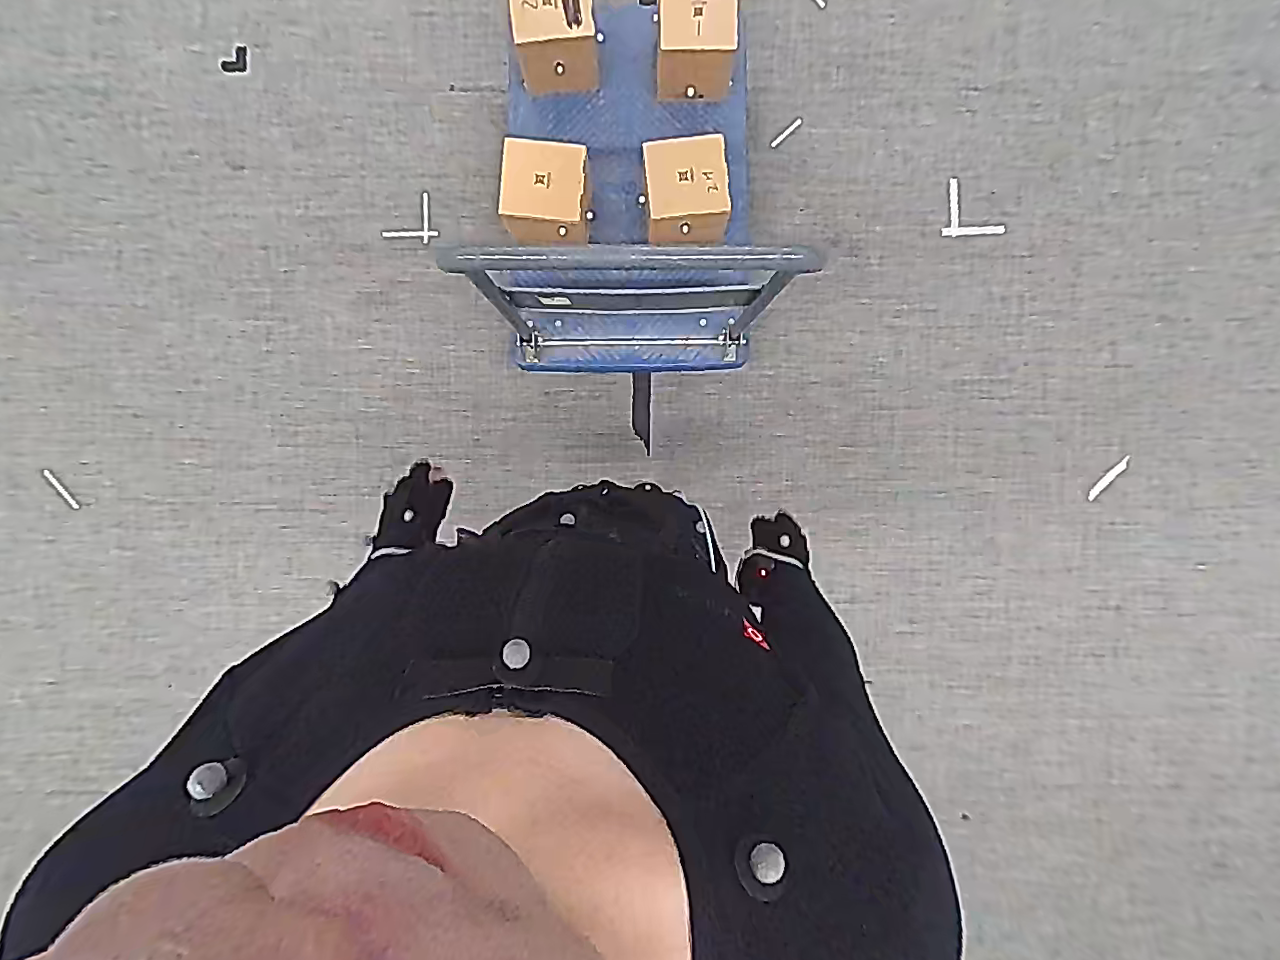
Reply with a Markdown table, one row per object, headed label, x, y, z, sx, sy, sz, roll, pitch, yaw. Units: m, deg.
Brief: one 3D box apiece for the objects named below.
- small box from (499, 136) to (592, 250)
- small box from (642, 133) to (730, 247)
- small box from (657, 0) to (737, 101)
| label | x | y | z | sx | sy | sz | roll | pitch | yaw |
| --- | --- | --- | --- | --- | --- | --- | --- | --- | --- |
| small box | -0.208 | -0.643 | 1.229 | 0.179 | 0.176 | 0.168 | 5 | 90 | -2 |
| small box | 0.099 | -0.649 | 1.230 | 0.179 | 0.176 | 0.168 | -6 | 91 | 0 |
| small box | 0.124 | -1.004 | 1.225 | 0.168 | 0.176 | 0.179 | 0 | 92 | 0 |
